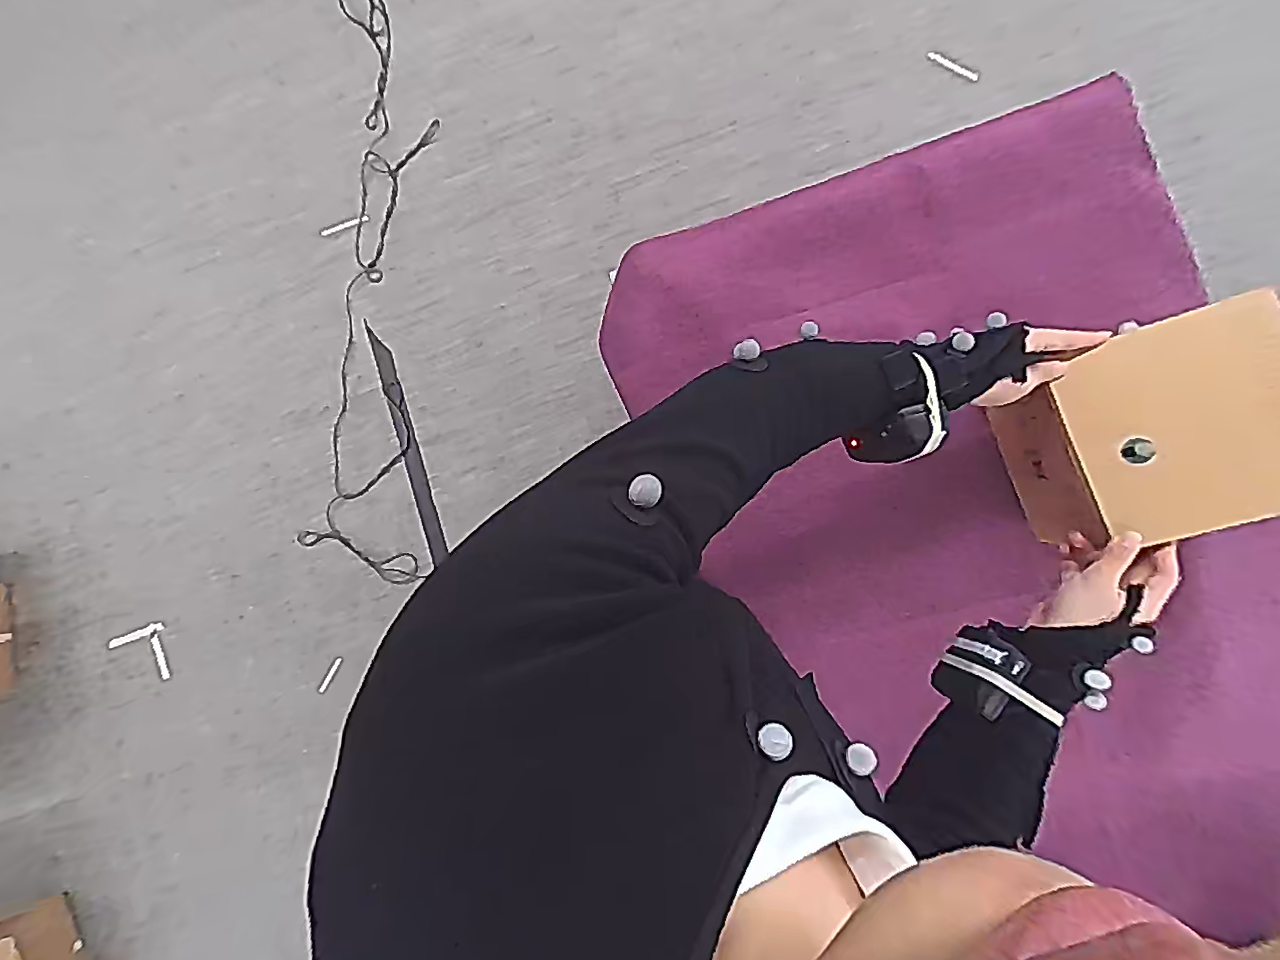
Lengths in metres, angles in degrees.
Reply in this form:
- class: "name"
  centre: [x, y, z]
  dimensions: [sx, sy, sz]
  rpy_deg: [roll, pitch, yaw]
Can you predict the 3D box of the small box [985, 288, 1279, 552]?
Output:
- class: "small box"
  centre: [0.468, -0.046, 0.506]
  dimensions: [0.176, 0.168, 0.179]
  rpy_deg: [-18, 83, 15]
